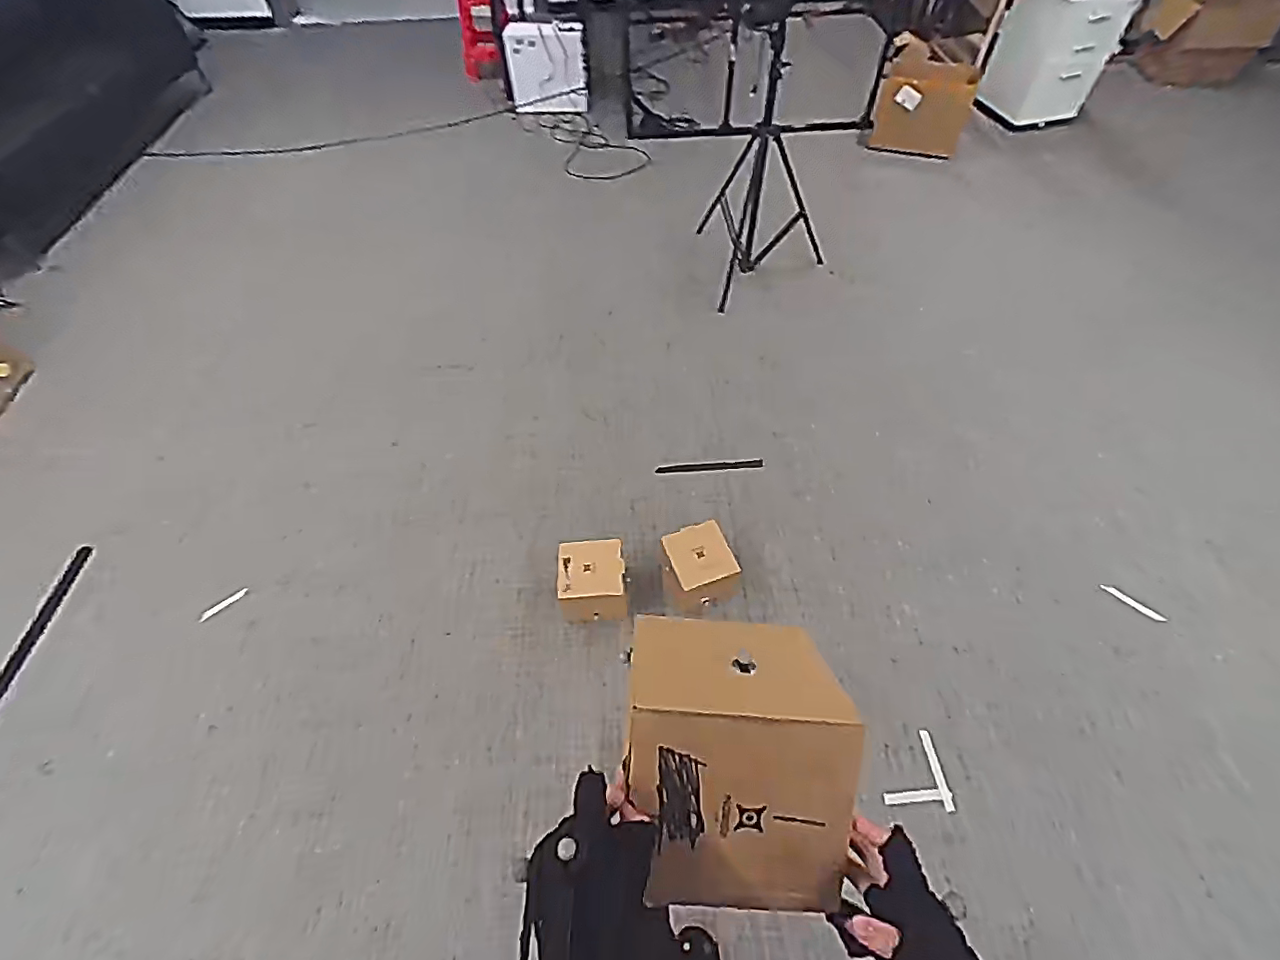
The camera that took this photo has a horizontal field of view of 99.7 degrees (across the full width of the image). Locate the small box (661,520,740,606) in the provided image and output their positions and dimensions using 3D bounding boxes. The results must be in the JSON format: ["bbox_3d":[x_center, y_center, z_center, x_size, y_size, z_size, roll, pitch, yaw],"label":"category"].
[{"bbox_3d":[0.164,0.247,1.529,0.168,0.176,0.179,-19,57,-10],"label":"small box"}]

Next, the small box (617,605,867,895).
[{"bbox_3d":[0.076,0.223,0.488,0.179,0.168,0.176,4,10,-1],"label":"small box"}]

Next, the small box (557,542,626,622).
[{"bbox_3d":[-0.130,0.288,1.511,0.179,0.176,0.168,-4,54,0],"label":"small box"}]
